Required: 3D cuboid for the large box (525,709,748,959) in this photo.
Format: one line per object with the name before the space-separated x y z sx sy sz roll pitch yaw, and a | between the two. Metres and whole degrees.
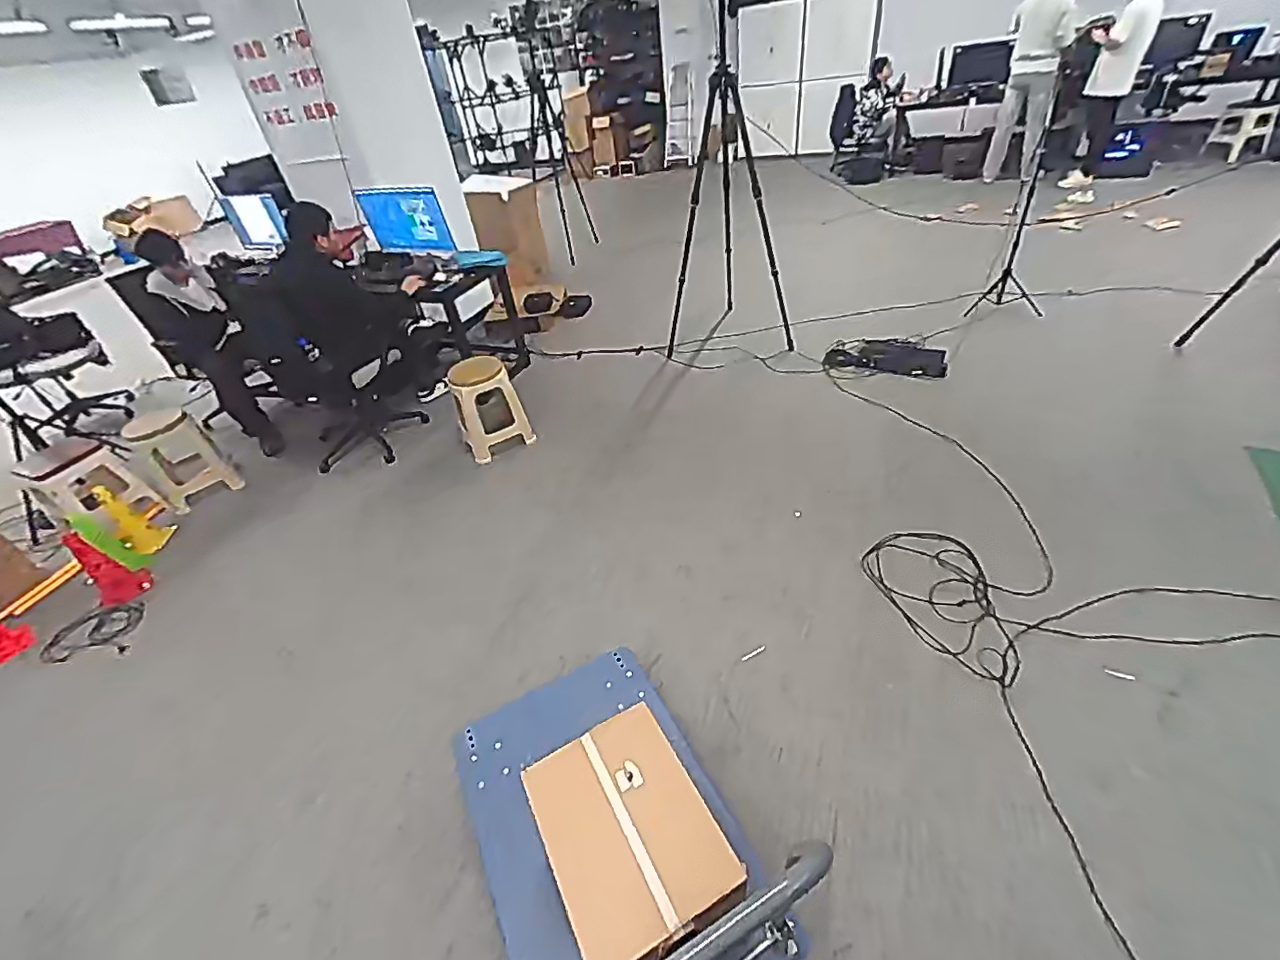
large box | -0.008 0.810 1.178 0.320 0.320 0.408 -23 39 -18
